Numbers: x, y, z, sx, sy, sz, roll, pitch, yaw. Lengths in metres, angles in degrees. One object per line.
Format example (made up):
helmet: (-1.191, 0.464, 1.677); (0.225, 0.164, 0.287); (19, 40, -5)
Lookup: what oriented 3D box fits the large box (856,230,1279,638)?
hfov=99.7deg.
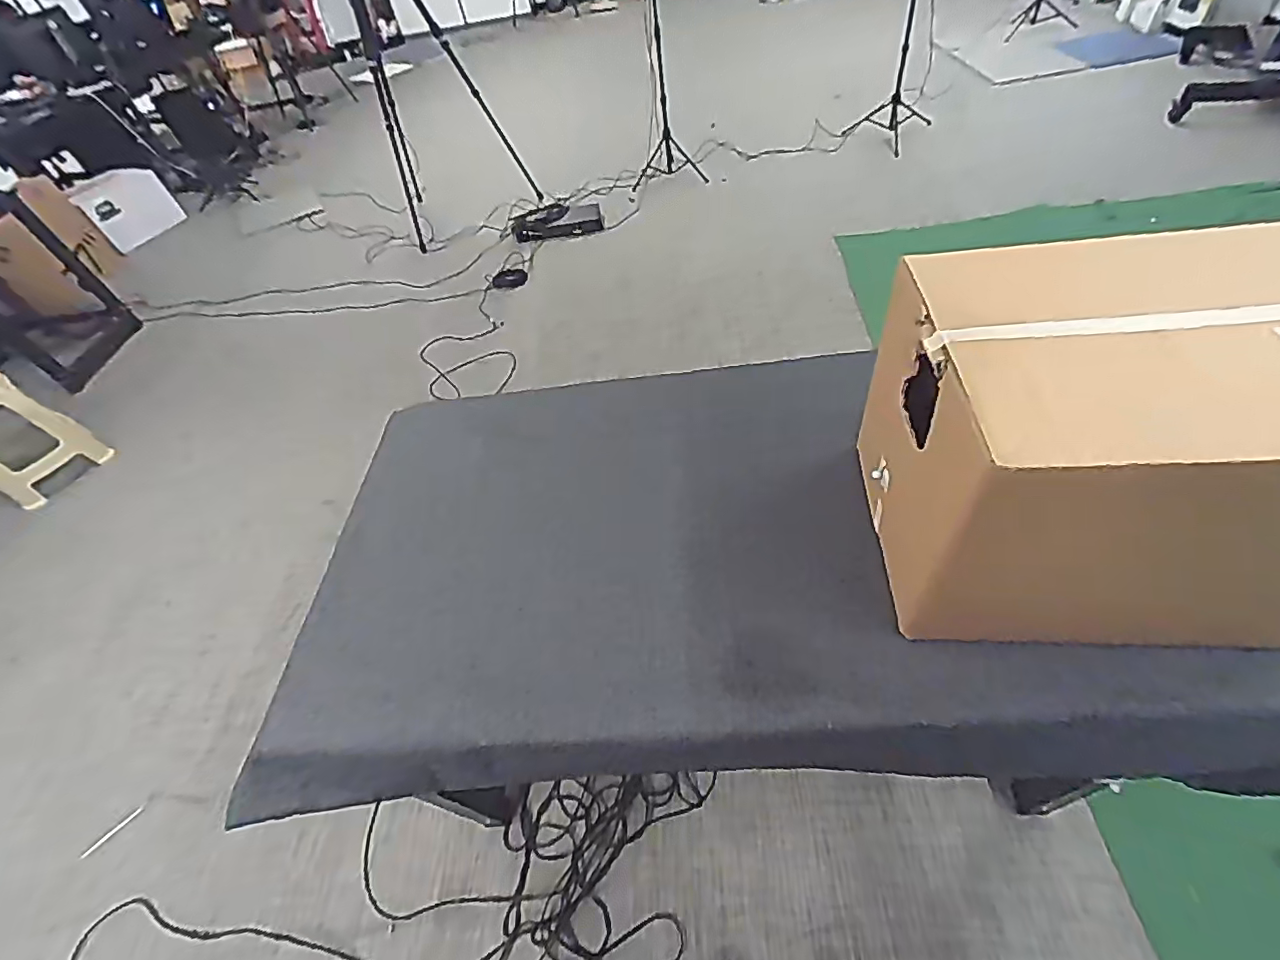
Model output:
large box: (0.492, -0.036, 0.584); (0.408, 0.320, 0.320); (-1, 51, 9)
